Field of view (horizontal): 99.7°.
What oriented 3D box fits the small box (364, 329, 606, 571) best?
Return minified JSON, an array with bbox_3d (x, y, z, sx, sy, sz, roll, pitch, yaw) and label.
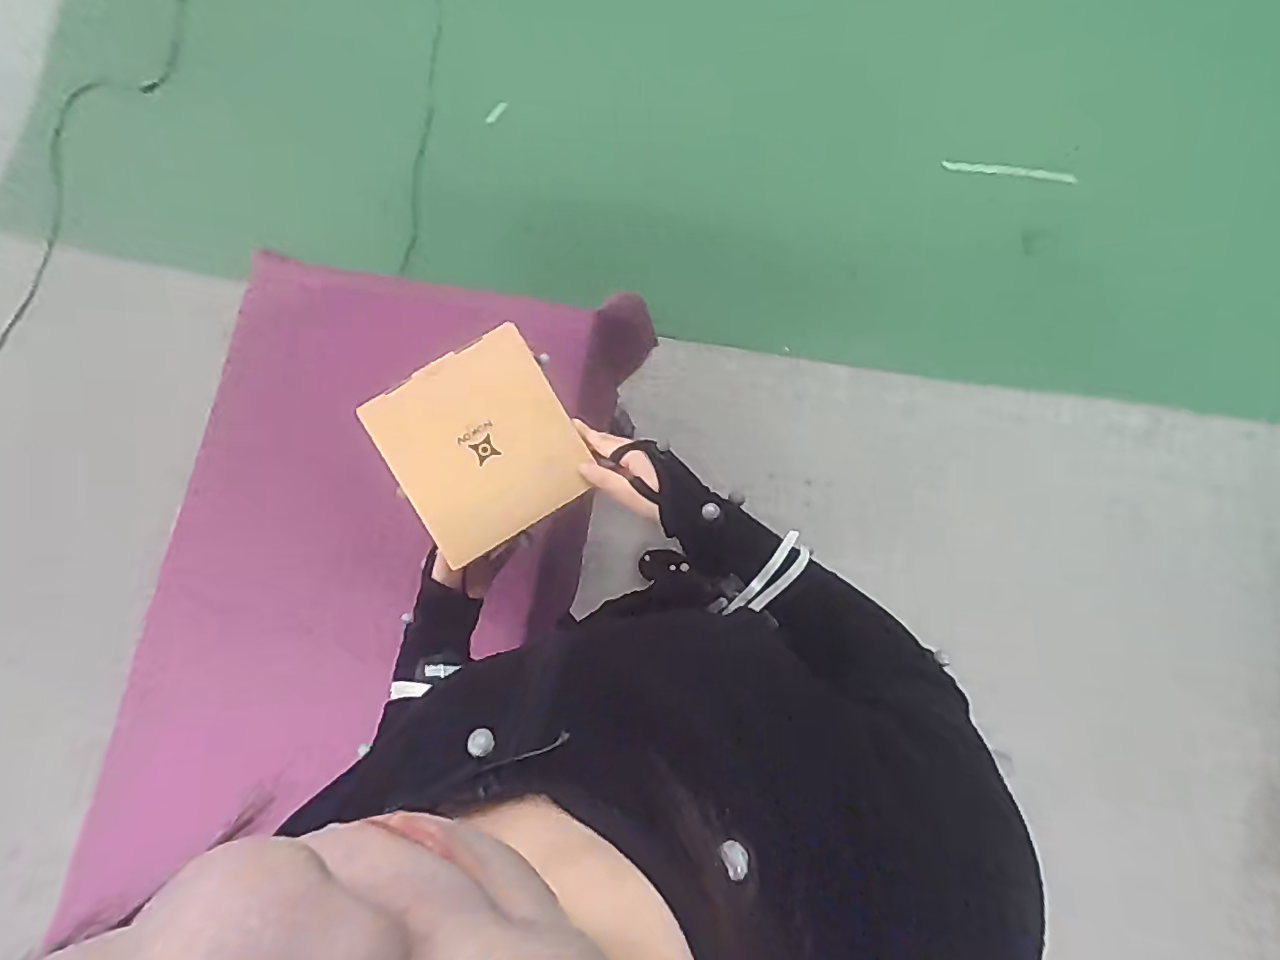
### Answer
[{"bbox_3d":[-0.145,-0.027,0.579,0.168,0.176,0.179,-30,89,-3],"label":"small box"}]
